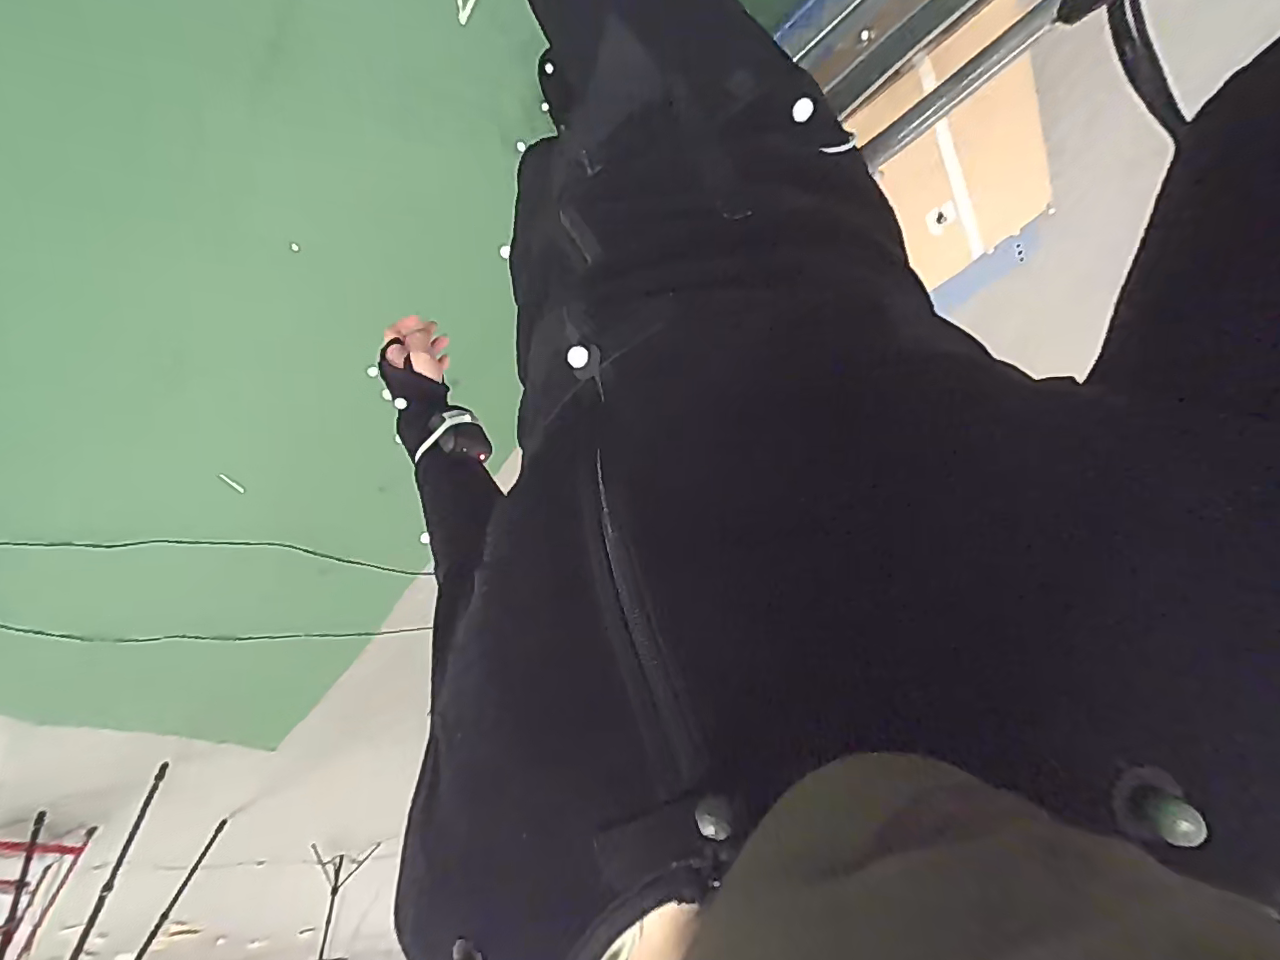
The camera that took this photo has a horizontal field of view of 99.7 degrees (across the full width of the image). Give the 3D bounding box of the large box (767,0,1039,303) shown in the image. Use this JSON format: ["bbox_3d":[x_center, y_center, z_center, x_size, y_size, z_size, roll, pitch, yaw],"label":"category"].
[{"bbox_3d":[0.523,-0.657,1.100,0.320,0.320,0.408,-34,130,17],"label":"large box"}]
